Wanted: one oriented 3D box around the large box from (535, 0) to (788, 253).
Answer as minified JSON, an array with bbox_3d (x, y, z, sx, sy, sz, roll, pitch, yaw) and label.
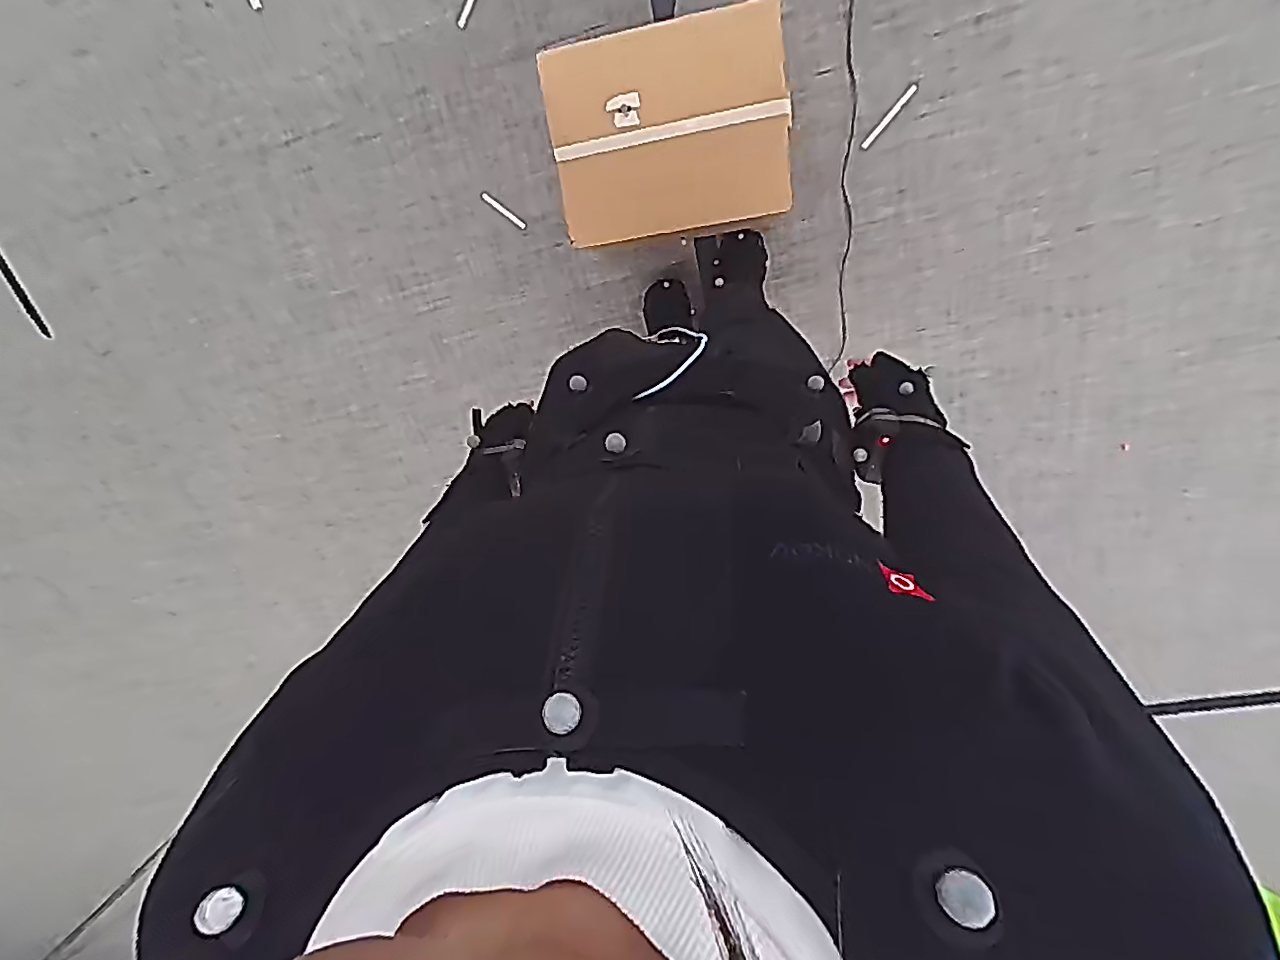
[{"bbox_3d":[0.060,-0.650,1.066,0.408,0.320,0.320,-6,109,11],"label":"large box"}]
